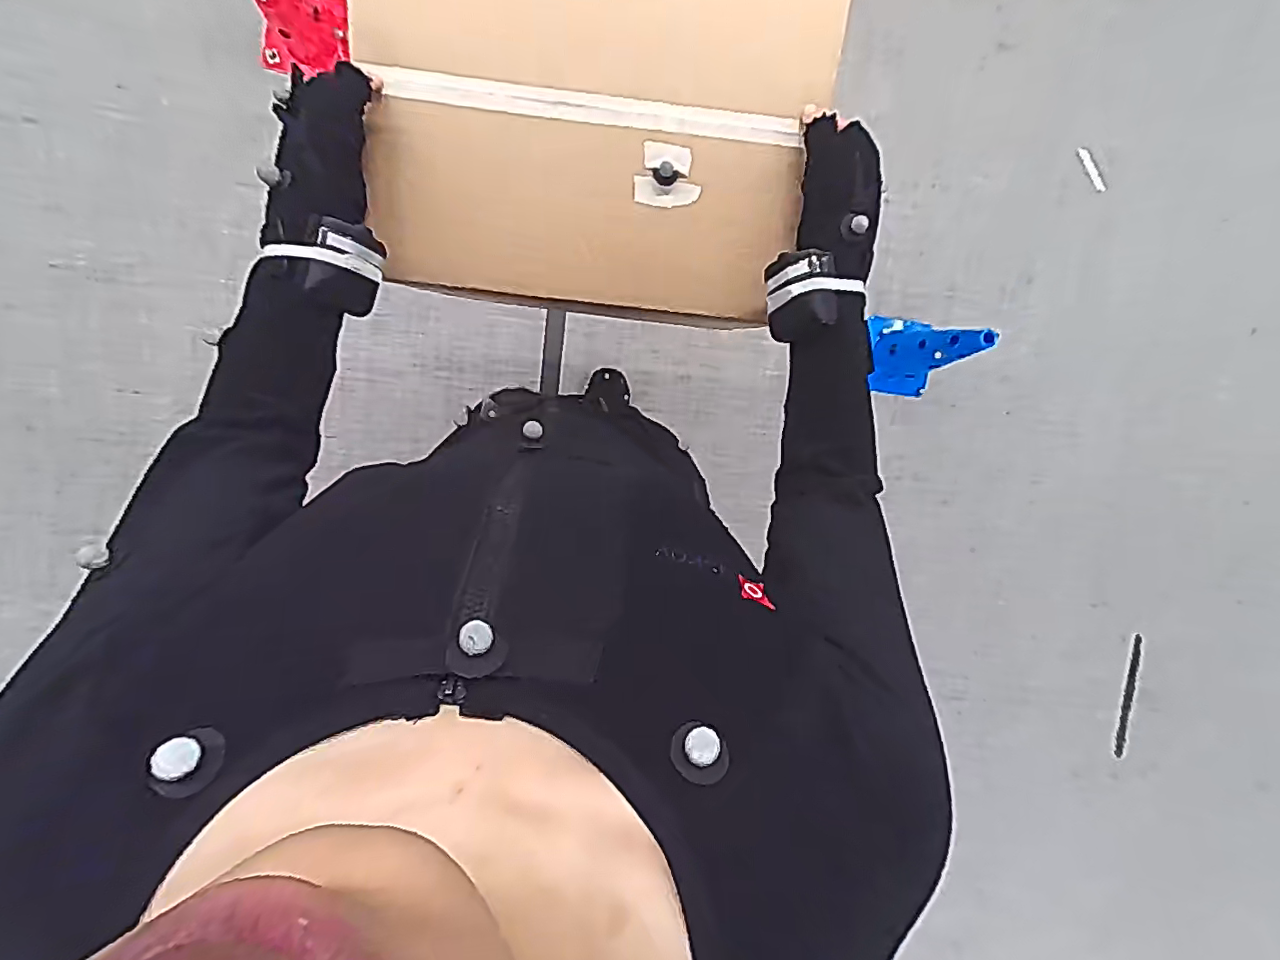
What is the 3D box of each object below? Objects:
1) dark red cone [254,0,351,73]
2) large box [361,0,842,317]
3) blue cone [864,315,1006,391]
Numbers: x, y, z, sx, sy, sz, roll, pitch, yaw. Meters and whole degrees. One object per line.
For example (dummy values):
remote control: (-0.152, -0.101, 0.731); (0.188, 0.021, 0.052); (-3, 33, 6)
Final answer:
dark red cone: (-0.763, -1.047, 1.089); (0.201, 0.394, 0.202); (11, 96, -6)
large box: (-0.043, -0.365, 0.608); (0.408, 0.320, 0.320); (5, 105, -4)
blue cone: (0.727, -0.328, 1.319); (0.192, 0.380, 0.193); (9, 96, -6)
